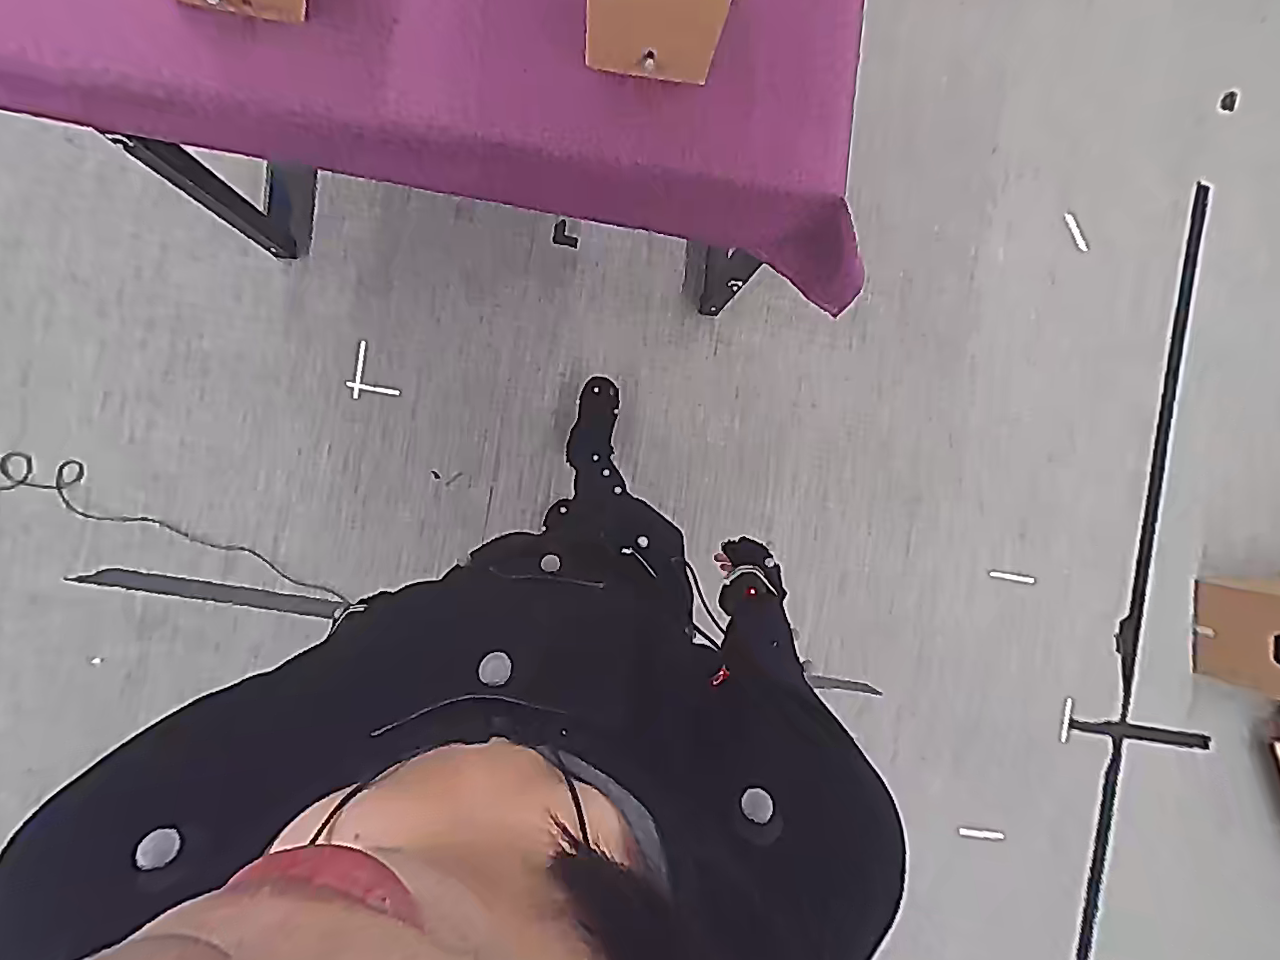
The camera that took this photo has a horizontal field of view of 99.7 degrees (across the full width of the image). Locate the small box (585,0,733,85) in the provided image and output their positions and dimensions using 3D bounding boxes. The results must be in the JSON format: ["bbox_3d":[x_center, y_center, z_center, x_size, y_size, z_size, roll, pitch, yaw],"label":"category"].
[{"bbox_3d":[0.023,-0.663,0.710,0.179,0.176,0.168,4,90,-7],"label":"small box"}]

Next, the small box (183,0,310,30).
[{"bbox_3d":[-0.515,-0.703,0.646,0.168,0.176,0.179,5,91,-6],"label":"small box"}]
